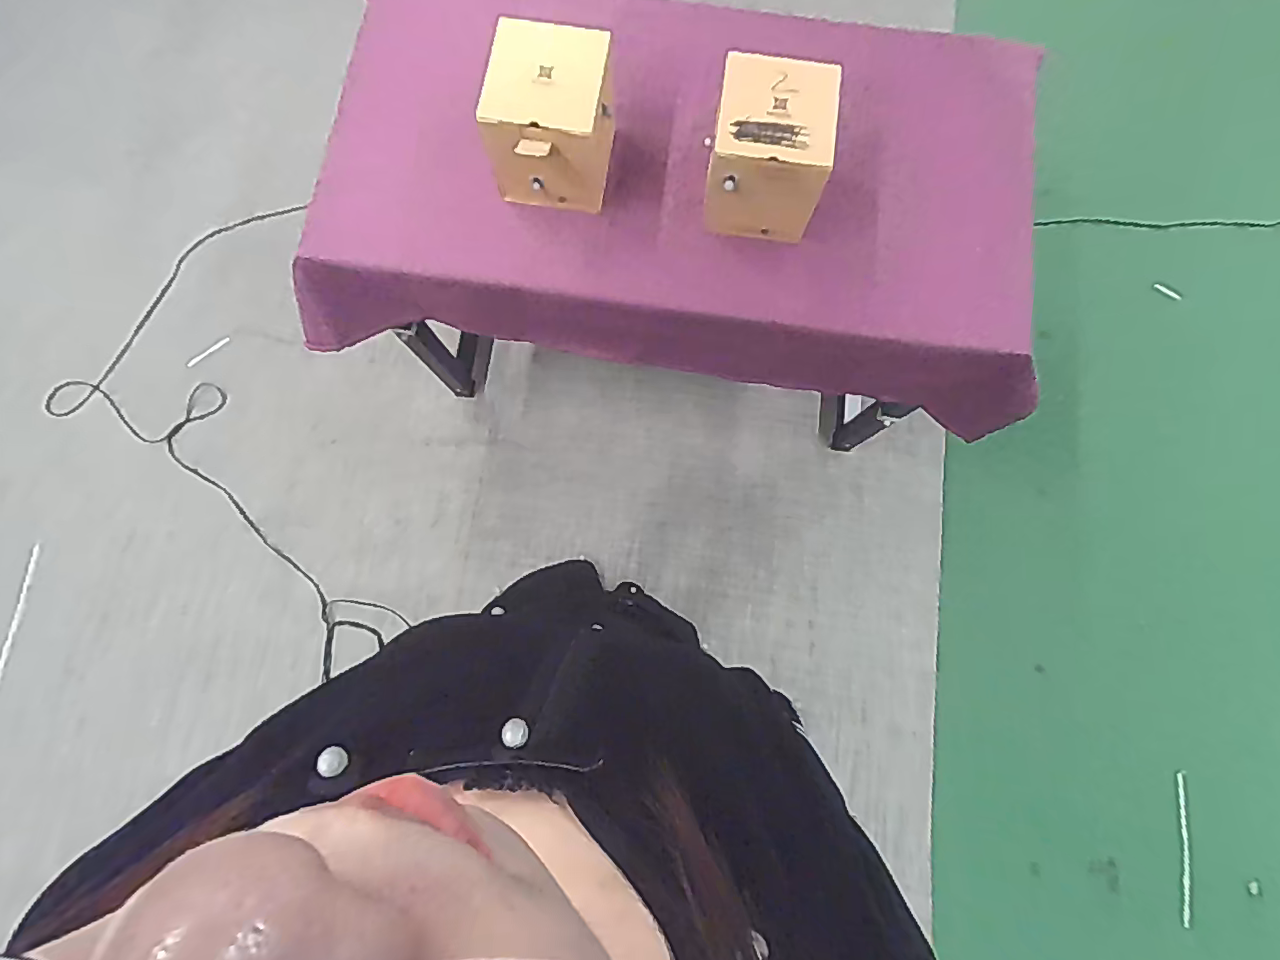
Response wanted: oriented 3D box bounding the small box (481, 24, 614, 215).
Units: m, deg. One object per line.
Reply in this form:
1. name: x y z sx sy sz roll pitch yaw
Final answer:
1. small box: -0.134 -0.562 0.859 0.168 0.176 0.179 9 80 1
